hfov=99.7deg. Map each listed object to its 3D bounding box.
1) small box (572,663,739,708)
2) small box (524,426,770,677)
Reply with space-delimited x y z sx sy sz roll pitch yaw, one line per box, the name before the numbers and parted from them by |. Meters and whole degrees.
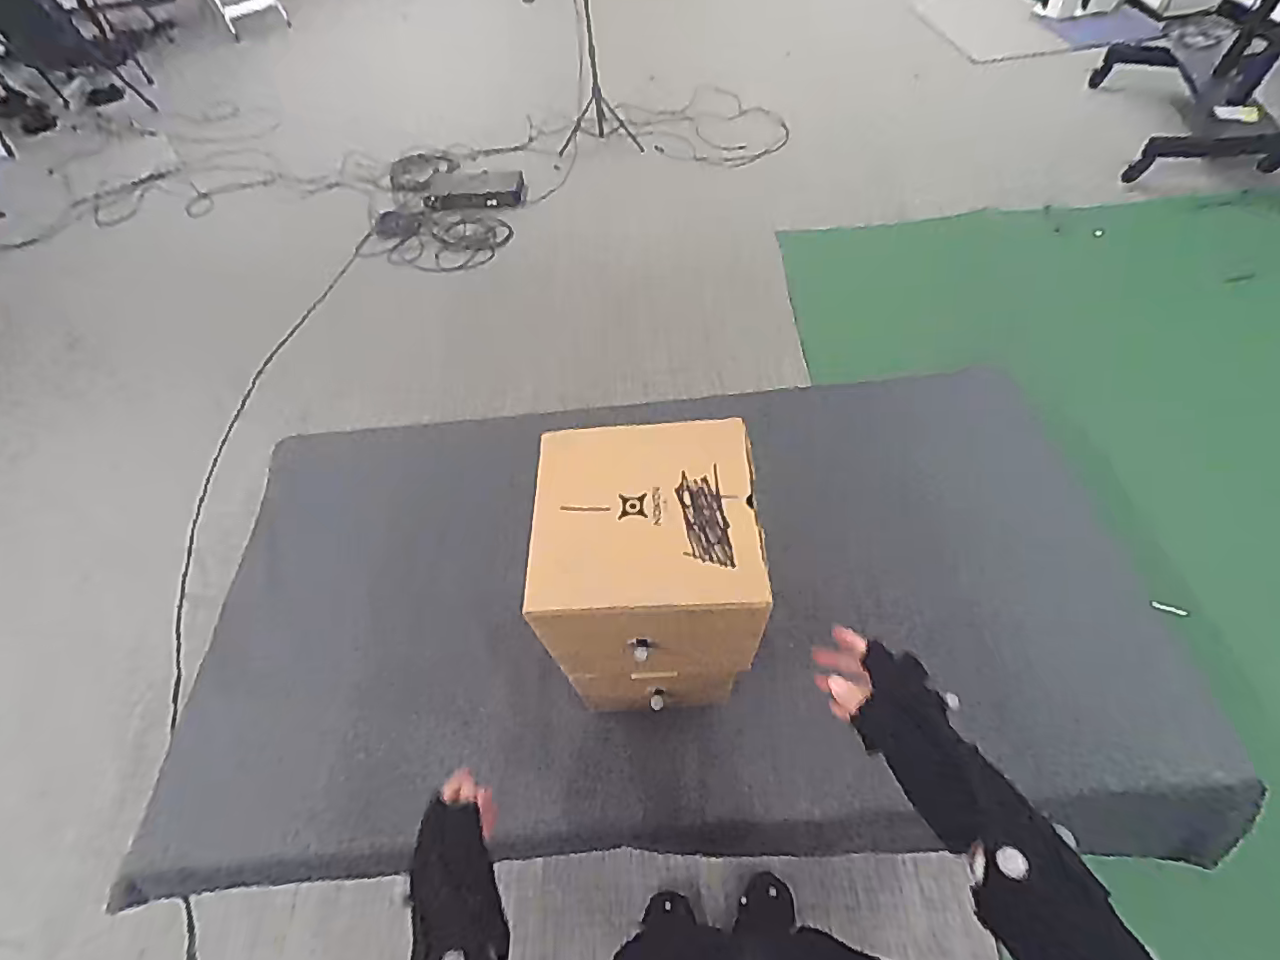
small box | 0.018 0.158 0.628 0.168 0.176 0.179 -7 57 2
small box | 0.010 0.071 0.487 0.179 0.176 0.168 -4 55 4
